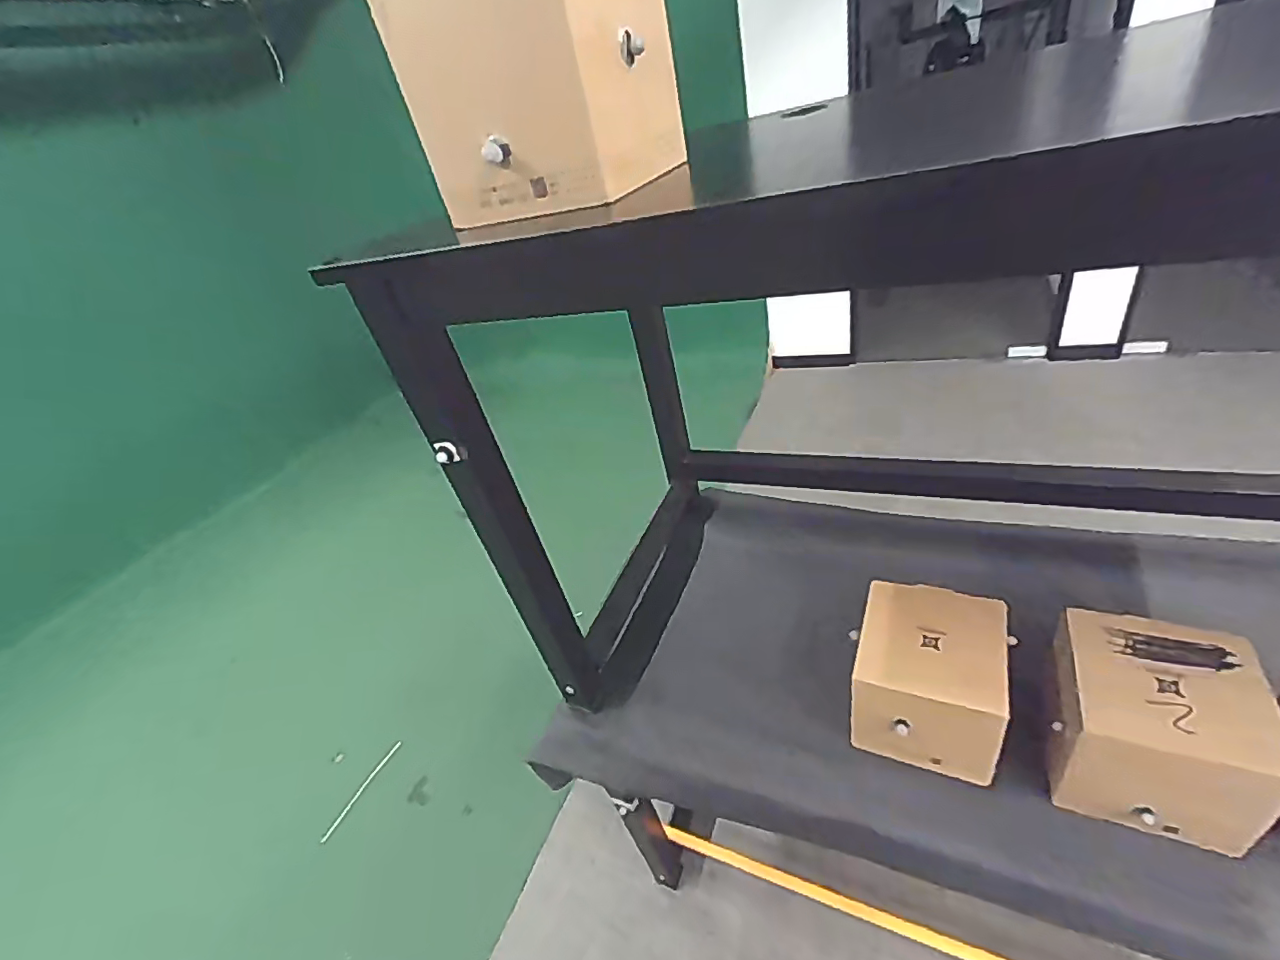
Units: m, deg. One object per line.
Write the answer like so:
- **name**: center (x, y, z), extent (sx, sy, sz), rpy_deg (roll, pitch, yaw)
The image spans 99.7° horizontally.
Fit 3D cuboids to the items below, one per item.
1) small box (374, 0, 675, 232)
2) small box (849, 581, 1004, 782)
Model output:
- **small box**: center (-0.078, -0.331, 0.471), extent (0.168, 0.176, 0.179), rpy_deg (5, 40, 27)
- **small box**: center (0.388, 0.269, 0.735), extent (0.168, 0.176, 0.179), rpy_deg (6, 39, 29)
